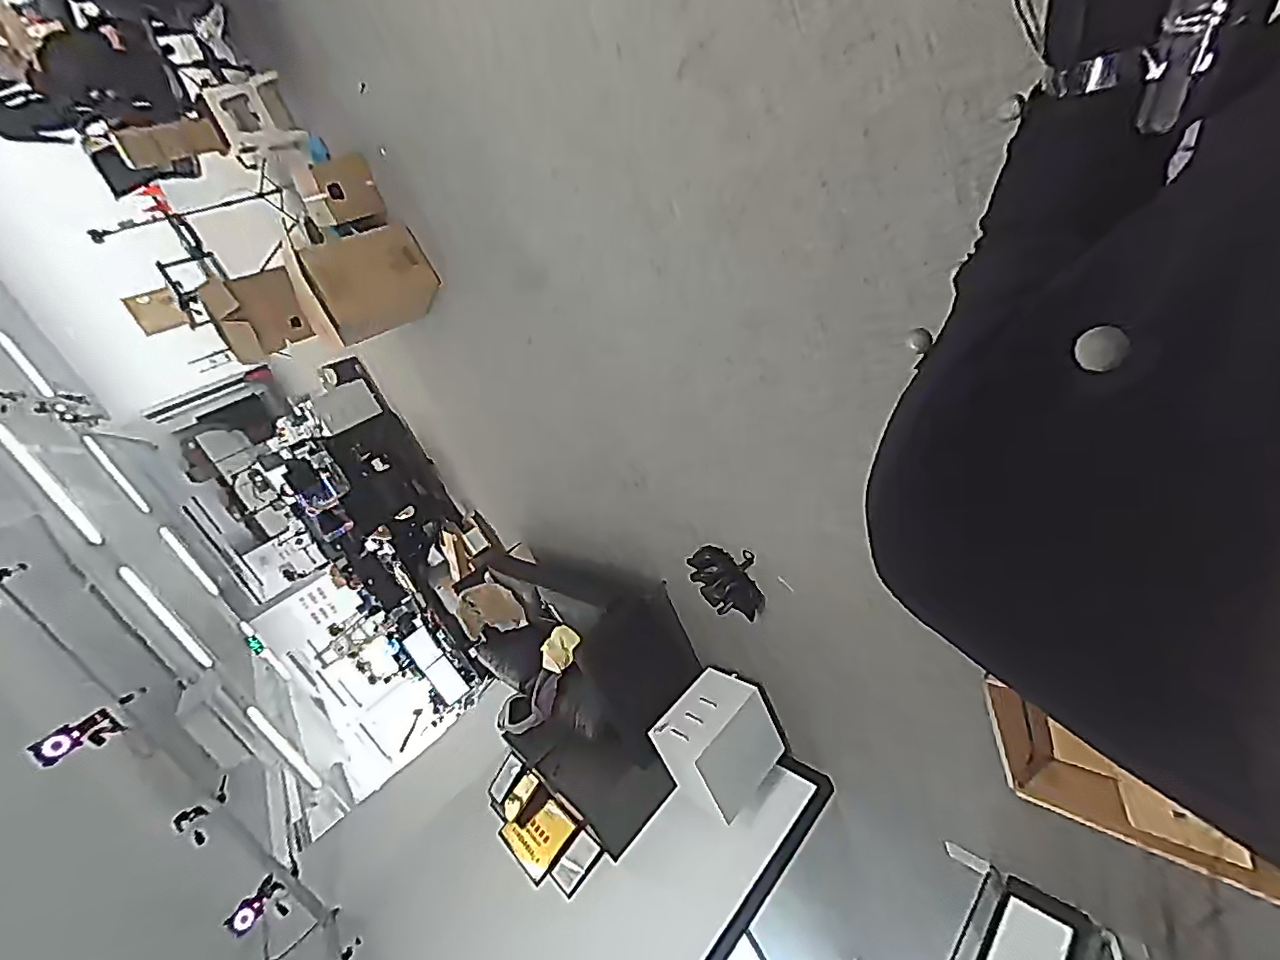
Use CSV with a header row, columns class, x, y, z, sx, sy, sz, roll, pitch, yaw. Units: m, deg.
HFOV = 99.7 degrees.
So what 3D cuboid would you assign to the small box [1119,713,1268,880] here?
class,x,y,z,sx,sy,sz,roll,pitch,yaw
small box,1.045,0.583,1.019,0.168,0.176,0.179,-4,117,55
